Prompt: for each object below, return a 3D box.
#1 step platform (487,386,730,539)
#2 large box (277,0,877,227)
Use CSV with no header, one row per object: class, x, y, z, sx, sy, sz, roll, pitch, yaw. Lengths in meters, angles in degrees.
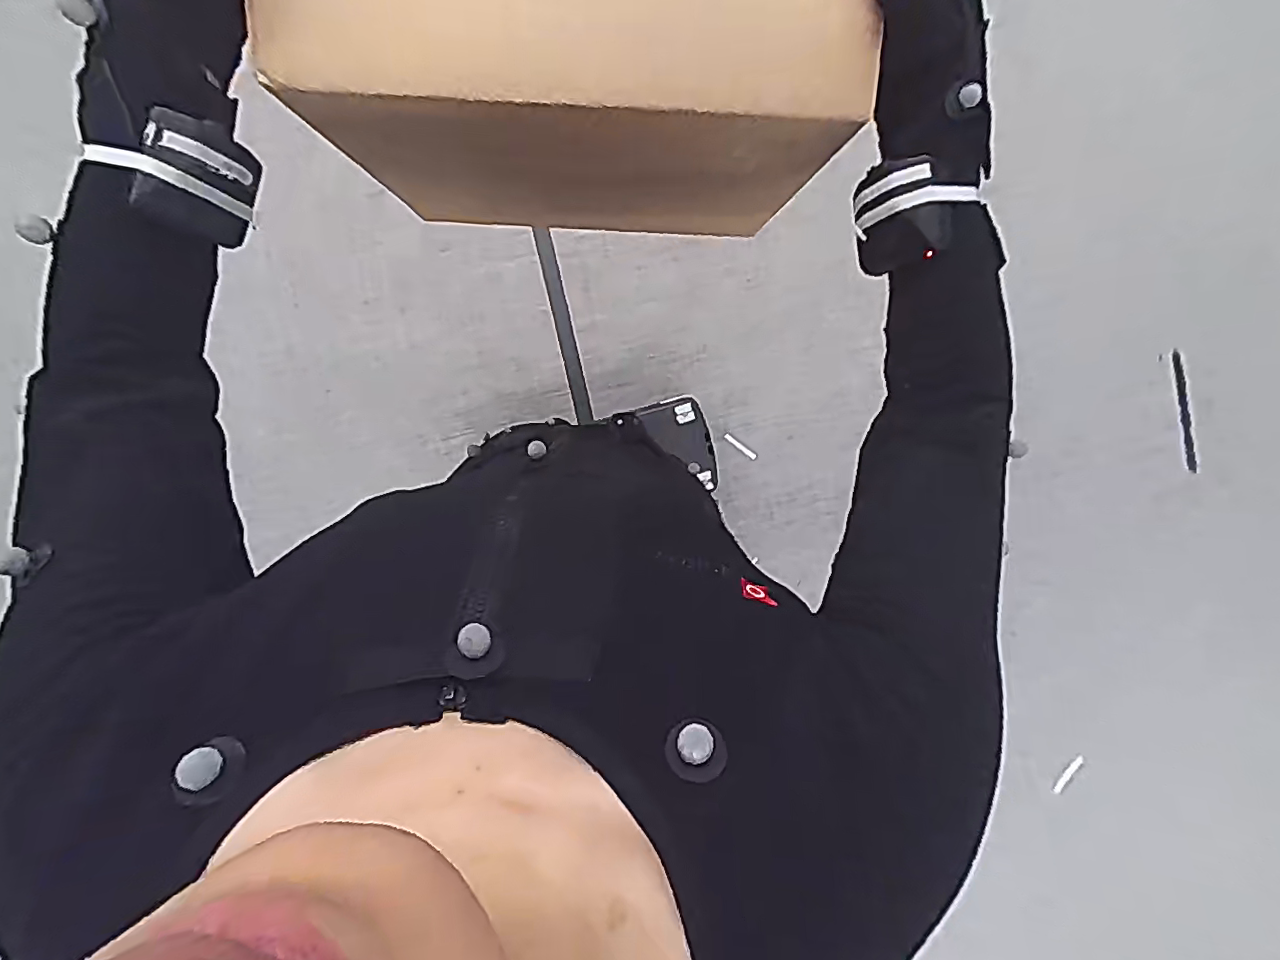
step platform,-0.088,-0.053,1.573,0.684,0.204,0.286,-16,97,-1
large box,-0.043,-0.437,0.487,0.408,0.320,0.320,1,101,-4
